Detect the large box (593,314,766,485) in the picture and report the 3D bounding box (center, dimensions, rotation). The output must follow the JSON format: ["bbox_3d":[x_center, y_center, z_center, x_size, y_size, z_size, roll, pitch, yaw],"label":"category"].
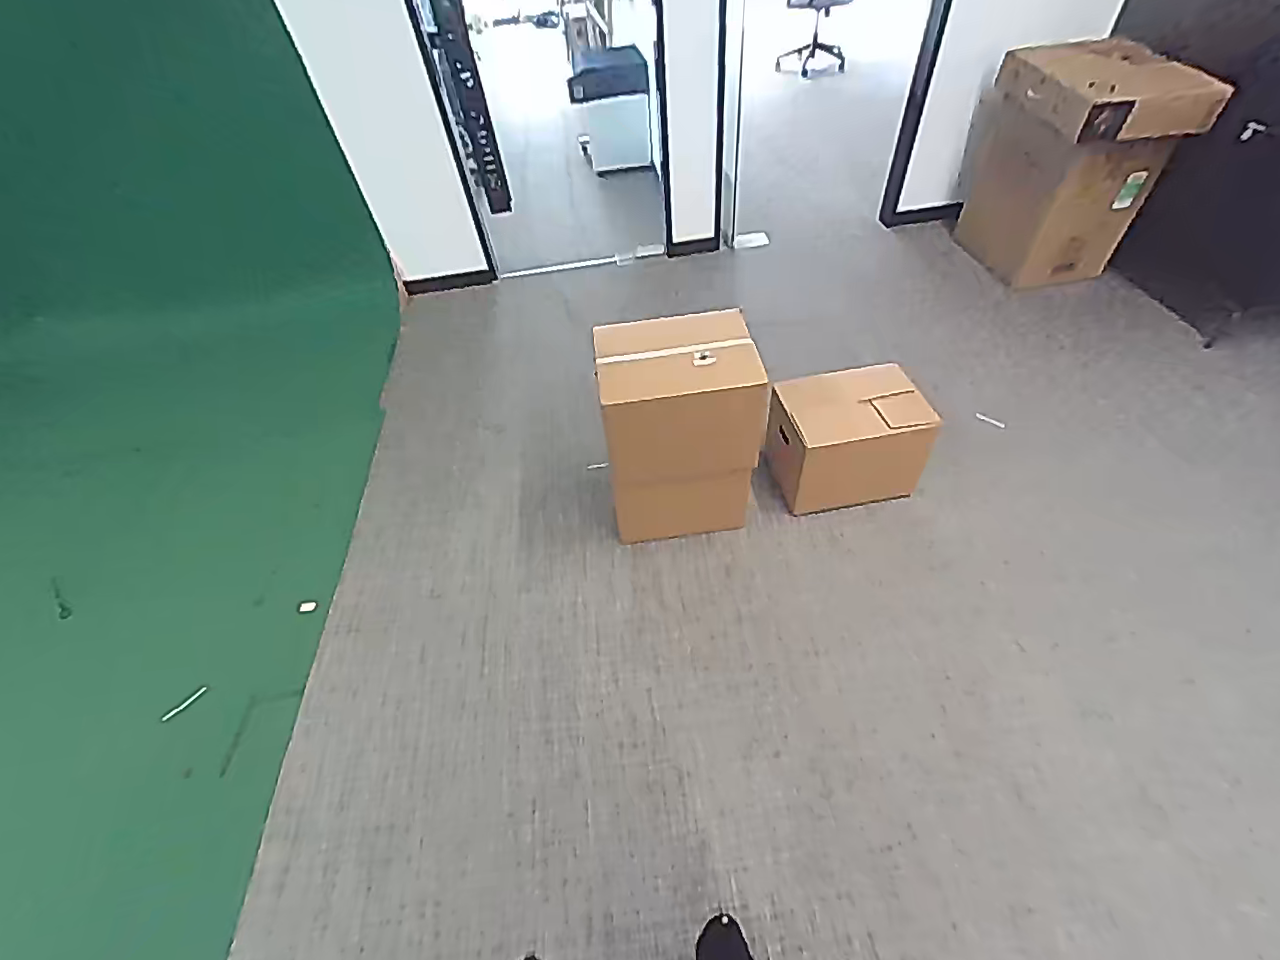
[{"bbox_3d":[0.094,-0.217,1.482,0.408,0.320,0.320,-7,51,-2],"label":"large box"}]
